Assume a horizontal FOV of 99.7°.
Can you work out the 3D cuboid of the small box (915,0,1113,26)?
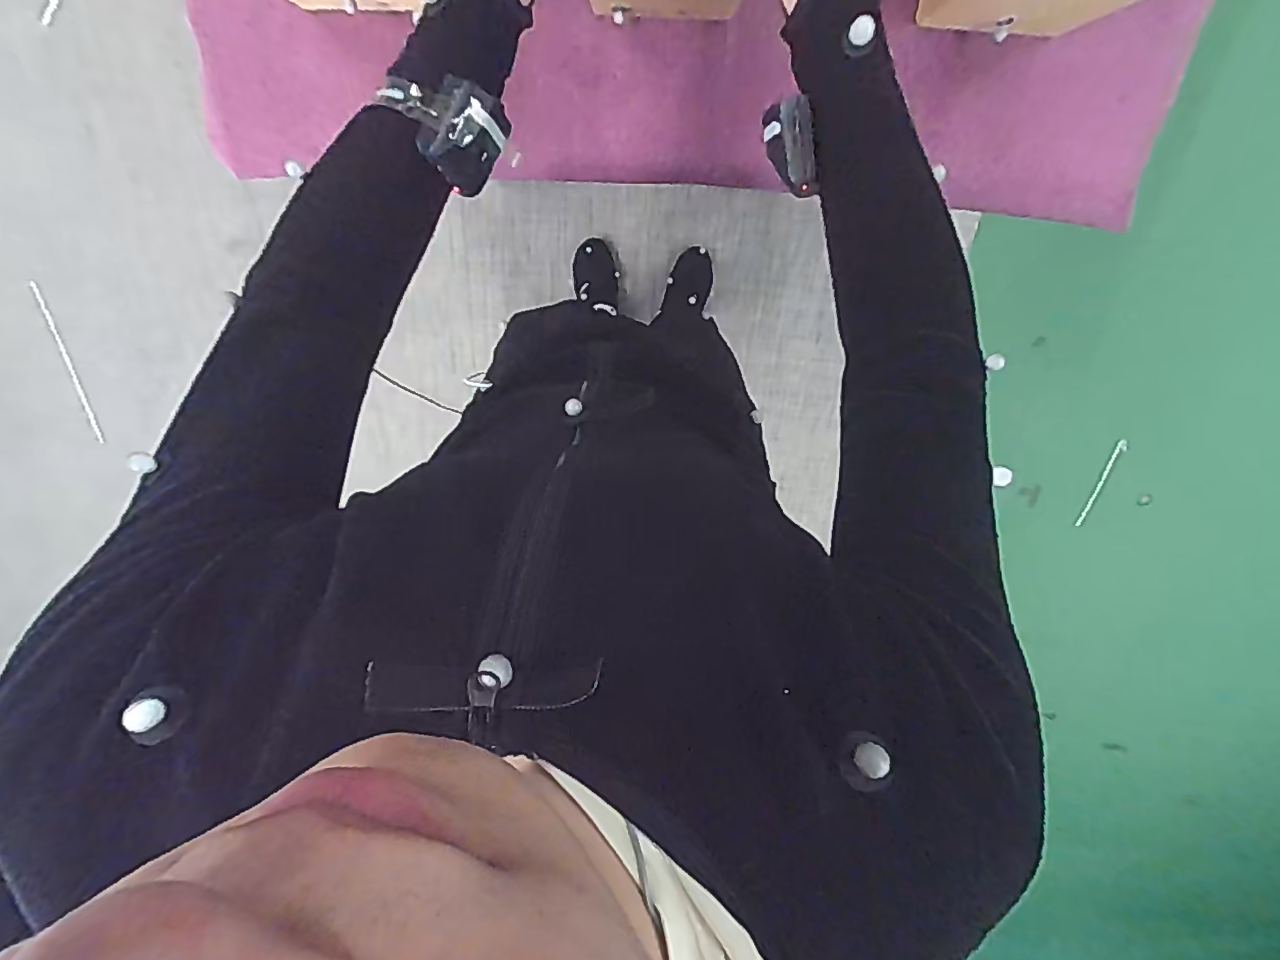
[{"bbox_3d":[0.415,-0.581,0.538,0.179,0.176,0.168,3,117,-1],"label":"small box"}]

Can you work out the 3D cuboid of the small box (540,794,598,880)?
[{"bbox_3d":[-0.230,1.173,1.780,0.168,0.176,0.179,6,116,-1],"label":"small box"}]

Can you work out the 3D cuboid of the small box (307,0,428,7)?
[{"bbox_3d":[-0.323,-0.605,0.529,0.168,0.176,0.179,1,117,0],"label":"small box"}]

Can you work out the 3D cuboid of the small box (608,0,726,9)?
[{"bbox_3d":[0.024,-0.599,0.532,0.168,0.176,0.179,2,117,0],"label":"small box"}]
